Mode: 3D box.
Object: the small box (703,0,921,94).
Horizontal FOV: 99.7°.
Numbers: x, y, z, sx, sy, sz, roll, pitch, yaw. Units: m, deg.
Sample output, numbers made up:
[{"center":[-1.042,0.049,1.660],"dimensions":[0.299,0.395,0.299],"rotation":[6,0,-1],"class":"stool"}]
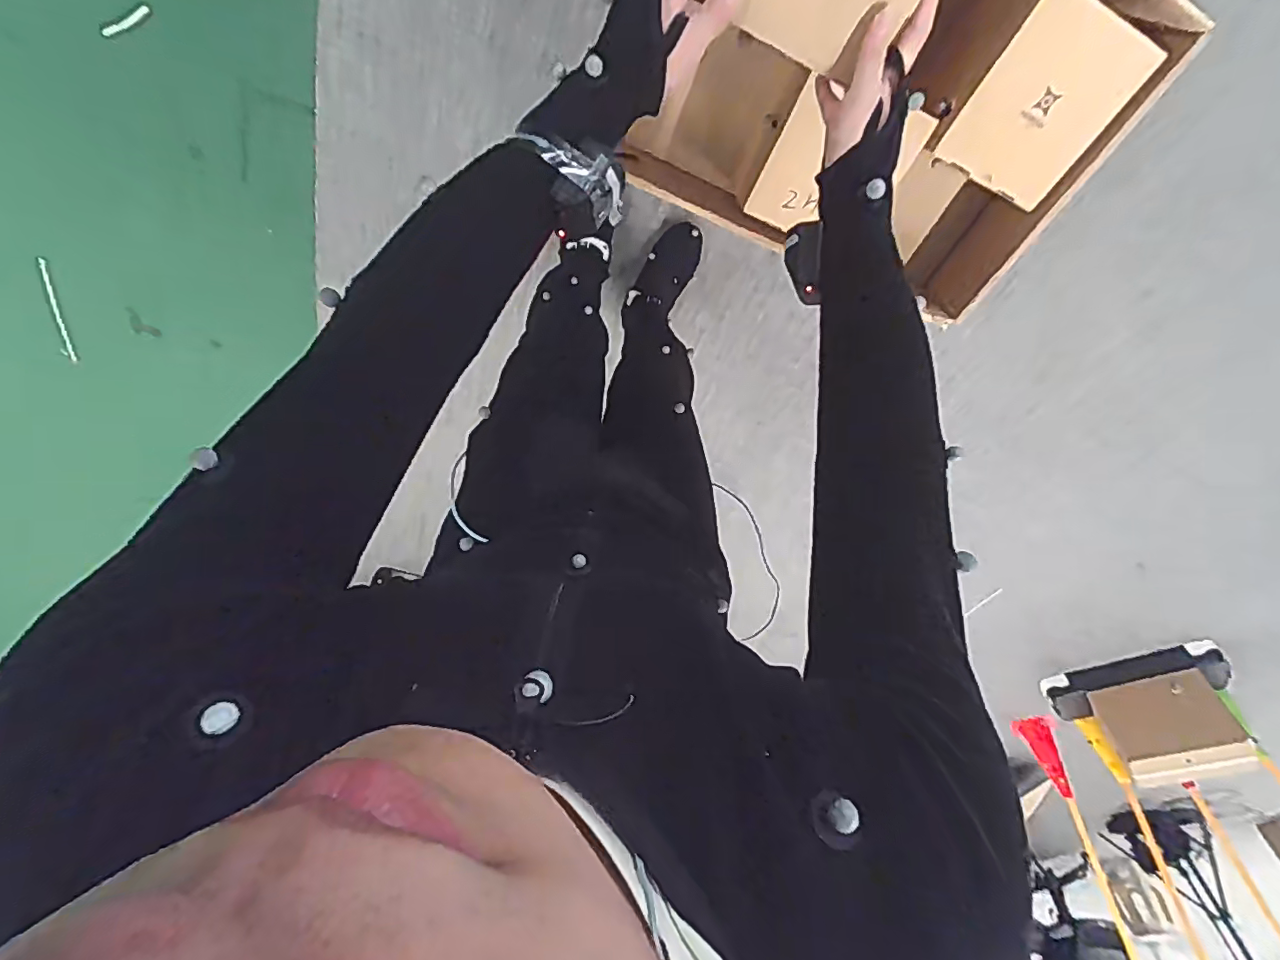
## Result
[{"center":[0.145,-0.466,0.444],"dimensions":[0.179,0.176,0.168],"rotation":[15,134,-19],"class":"small box"}]
